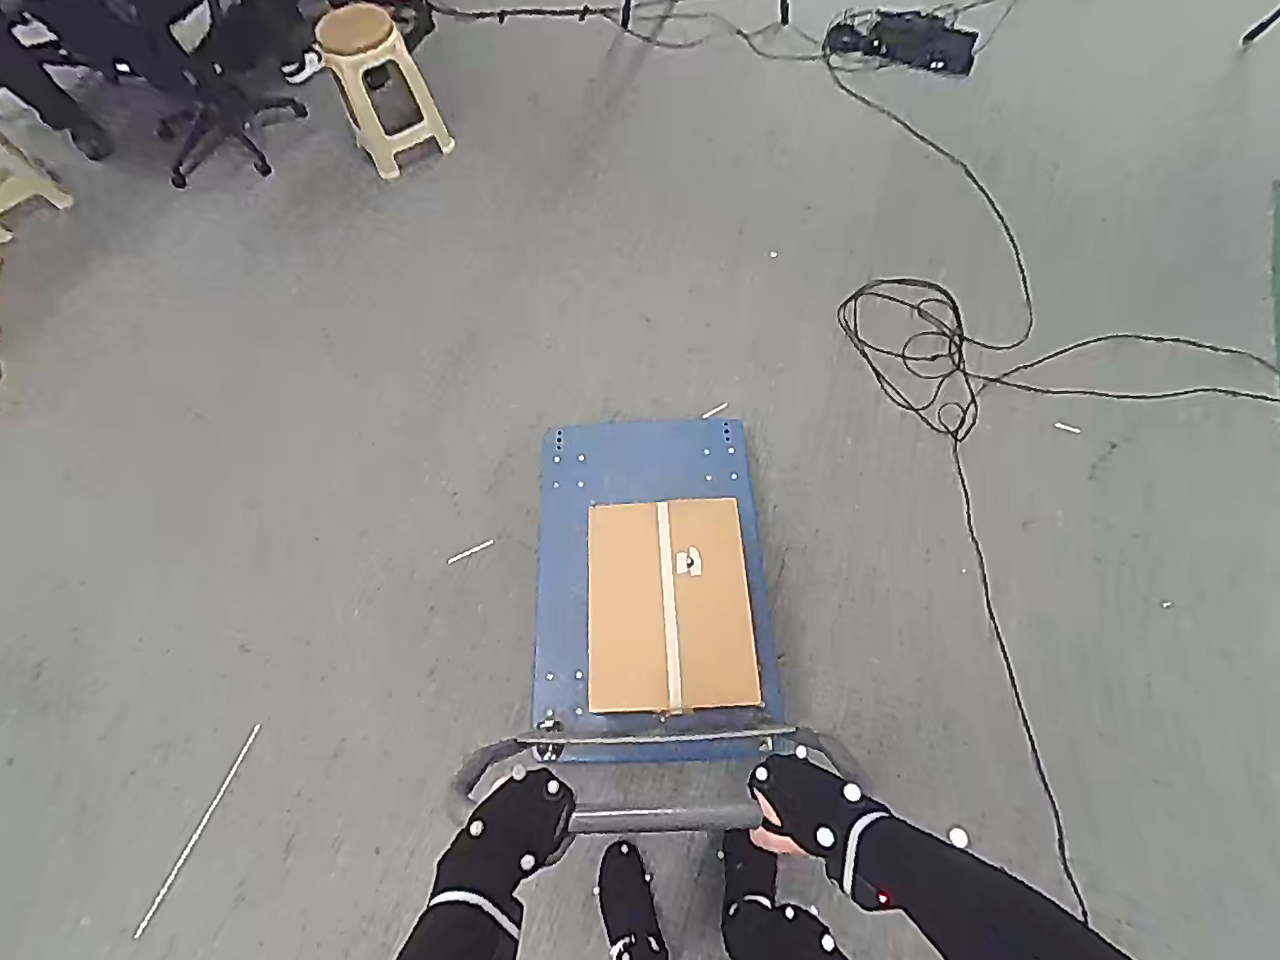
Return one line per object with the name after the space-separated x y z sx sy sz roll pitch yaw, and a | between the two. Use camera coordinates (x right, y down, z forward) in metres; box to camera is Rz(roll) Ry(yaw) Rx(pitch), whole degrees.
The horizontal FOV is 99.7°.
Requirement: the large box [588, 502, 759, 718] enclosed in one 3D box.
0.062 0.301 1.206 0.320 0.320 0.408 -3 65 1 | large box
